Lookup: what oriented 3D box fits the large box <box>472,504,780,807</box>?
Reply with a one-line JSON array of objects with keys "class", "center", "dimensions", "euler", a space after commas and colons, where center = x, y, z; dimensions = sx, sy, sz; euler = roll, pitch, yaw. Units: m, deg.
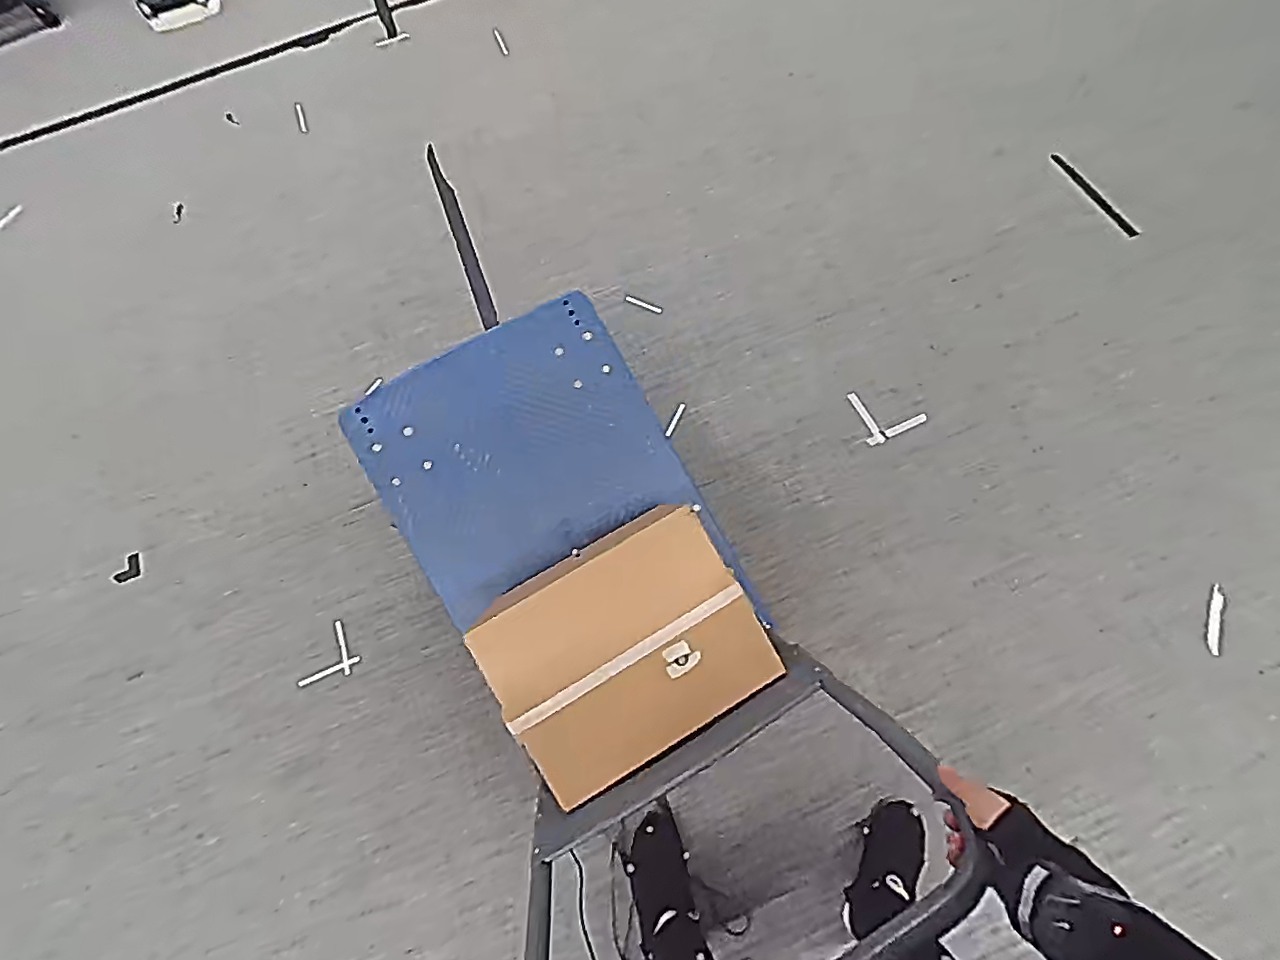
[{"class": "large box", "center": [-0.032, 0.280, 0.994], "dimensions": [0.408, 0.320, 0.320], "euler": [-31, 91, -8]}]
